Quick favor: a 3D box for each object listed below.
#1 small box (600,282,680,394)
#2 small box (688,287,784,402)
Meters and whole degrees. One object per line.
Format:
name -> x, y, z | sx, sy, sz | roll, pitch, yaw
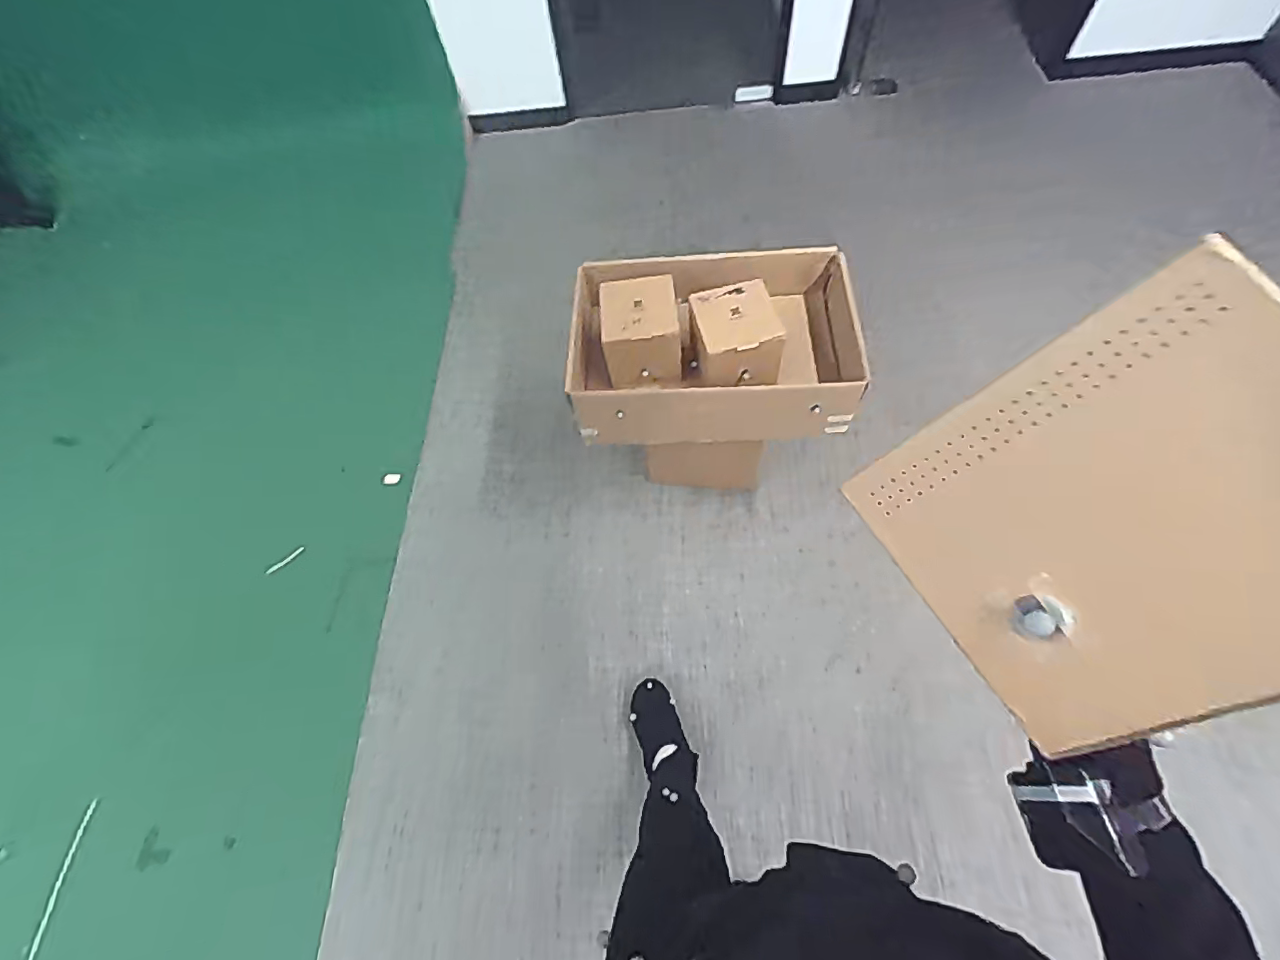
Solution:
small box -> 0.002, -0.321, 1.237 | 0.168, 0.176, 0.179 | -6, 61, 3
small box -> 0.207, -0.292, 1.203 | 0.168, 0.176, 0.179 | -12, 62, -1
